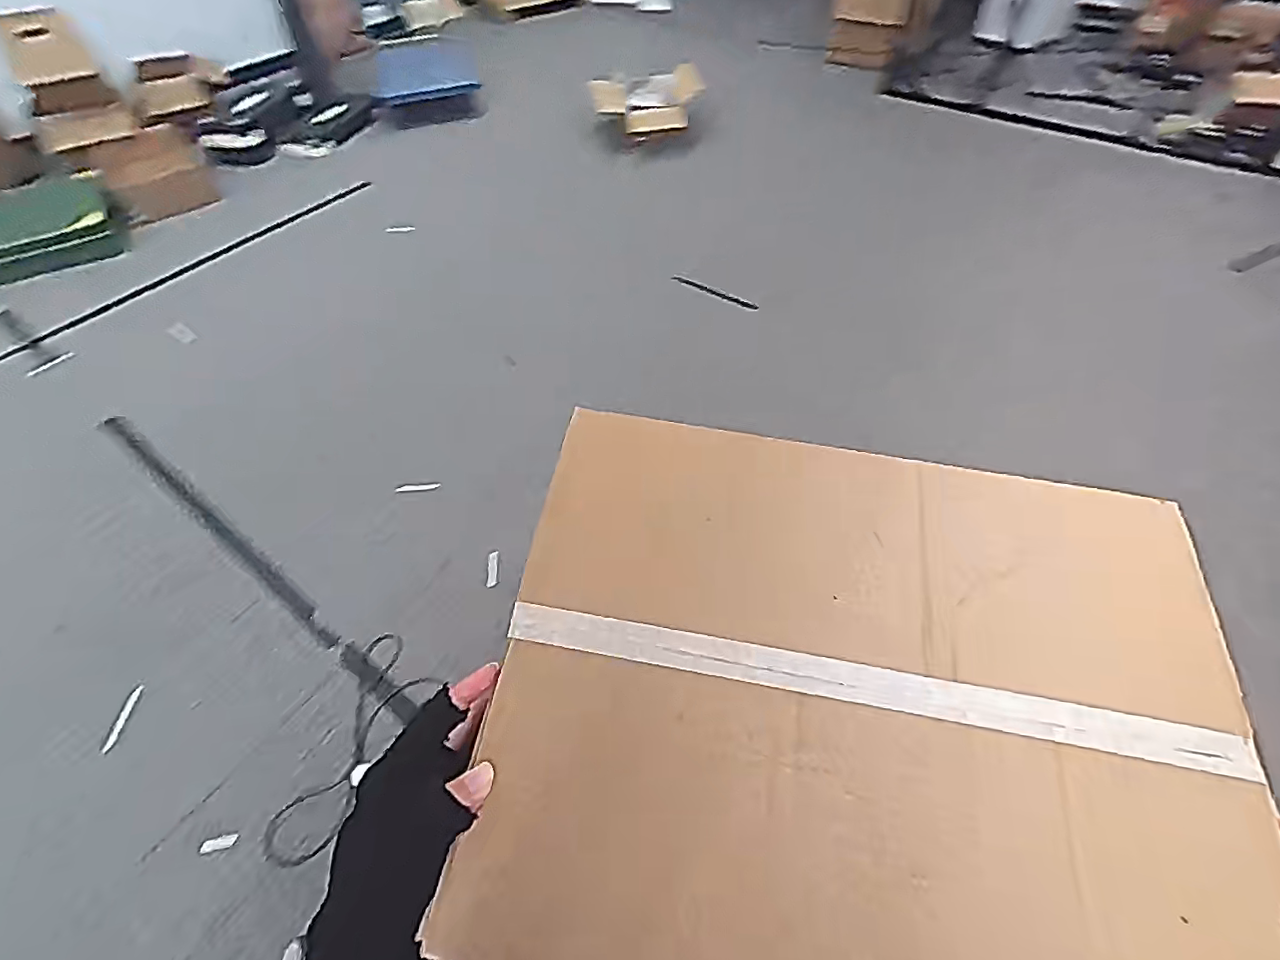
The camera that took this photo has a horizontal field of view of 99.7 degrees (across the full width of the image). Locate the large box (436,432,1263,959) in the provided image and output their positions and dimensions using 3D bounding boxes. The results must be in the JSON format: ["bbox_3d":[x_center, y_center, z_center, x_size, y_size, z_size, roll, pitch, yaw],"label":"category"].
[{"bbox_3d":[0.114,0.190,0.449,0.408,0.320,0.320,8,63,4],"label":"large box"}]
